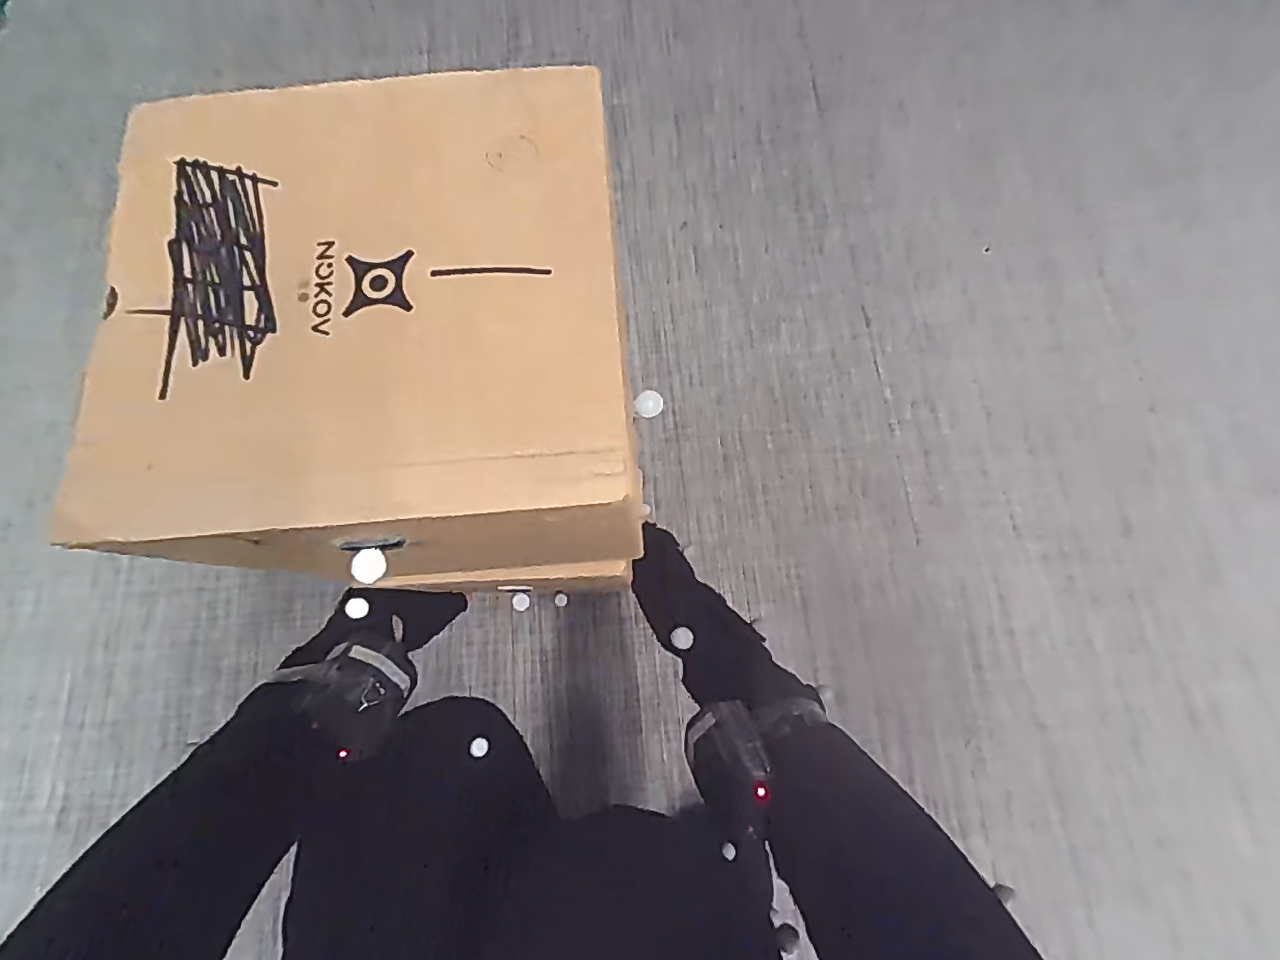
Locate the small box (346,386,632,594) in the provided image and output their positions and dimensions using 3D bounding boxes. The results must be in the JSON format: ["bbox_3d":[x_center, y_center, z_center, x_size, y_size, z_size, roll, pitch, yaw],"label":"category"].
[{"bbox_3d":[-0.094,-0.004,0.416,0.168,0.176,0.179,-3,78,3],"label":"small box"}]

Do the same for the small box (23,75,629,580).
[{"bbox_3d":[-0.101,-0.043,0.257,0.179,0.176,0.168,-4,77,1],"label":"small box"}]
